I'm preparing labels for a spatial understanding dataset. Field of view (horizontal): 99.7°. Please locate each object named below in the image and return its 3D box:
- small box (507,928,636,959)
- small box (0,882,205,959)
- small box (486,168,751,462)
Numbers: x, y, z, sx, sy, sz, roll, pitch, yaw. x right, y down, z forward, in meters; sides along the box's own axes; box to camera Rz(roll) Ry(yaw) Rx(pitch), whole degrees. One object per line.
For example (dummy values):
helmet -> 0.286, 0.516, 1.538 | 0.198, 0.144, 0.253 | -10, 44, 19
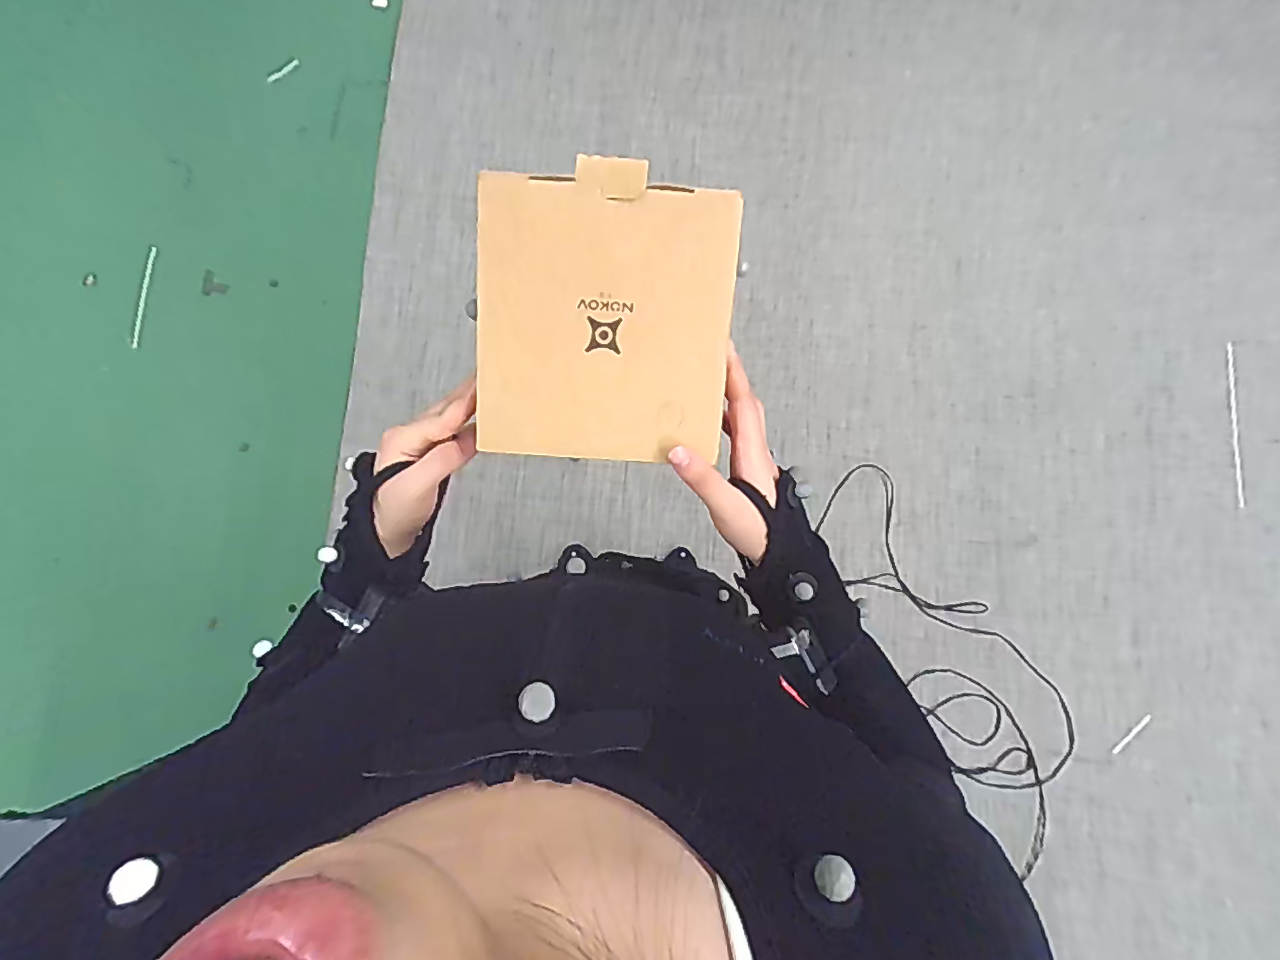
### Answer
small box -> -0.092, 0.679, 0.627 | 0.168, 0.176, 0.179 | 4, 85, 1
small box -> -0.673, 0.633, 0.636 | 0.168, 0.176, 0.179 | 24, 87, 4
small box -> -0.018, -0.118, 0.428 | 0.168, 0.176, 0.179 | 3, 101, -2
